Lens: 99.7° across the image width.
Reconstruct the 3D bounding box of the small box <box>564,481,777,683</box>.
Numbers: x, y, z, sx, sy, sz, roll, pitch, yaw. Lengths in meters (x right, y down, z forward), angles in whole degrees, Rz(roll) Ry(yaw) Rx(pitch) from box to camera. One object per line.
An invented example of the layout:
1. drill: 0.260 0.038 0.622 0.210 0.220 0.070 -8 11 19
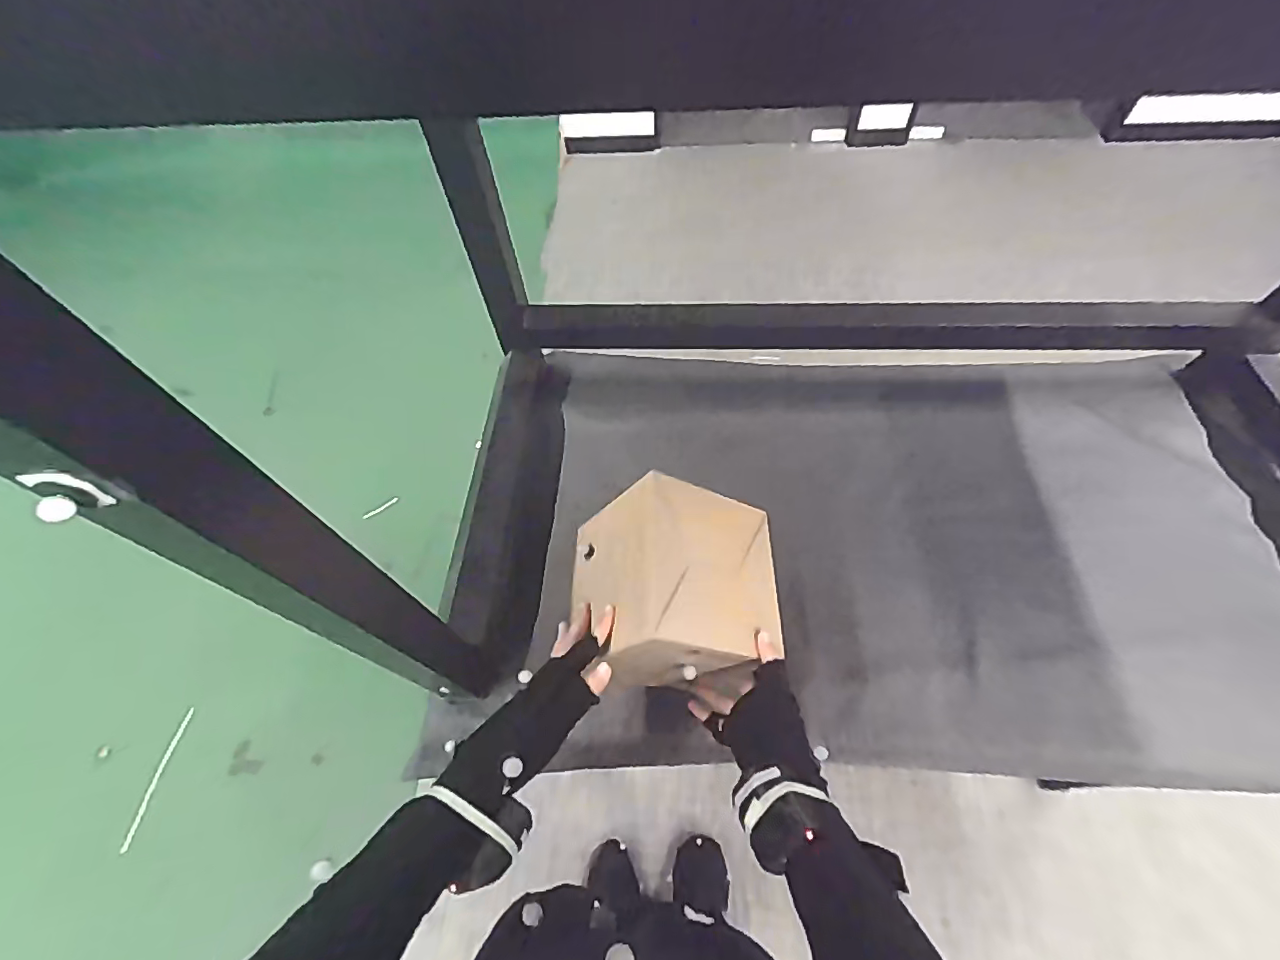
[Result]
1. small box: 0.033 0.117 0.604 0.168 0.176 0.179 21 53 -29
